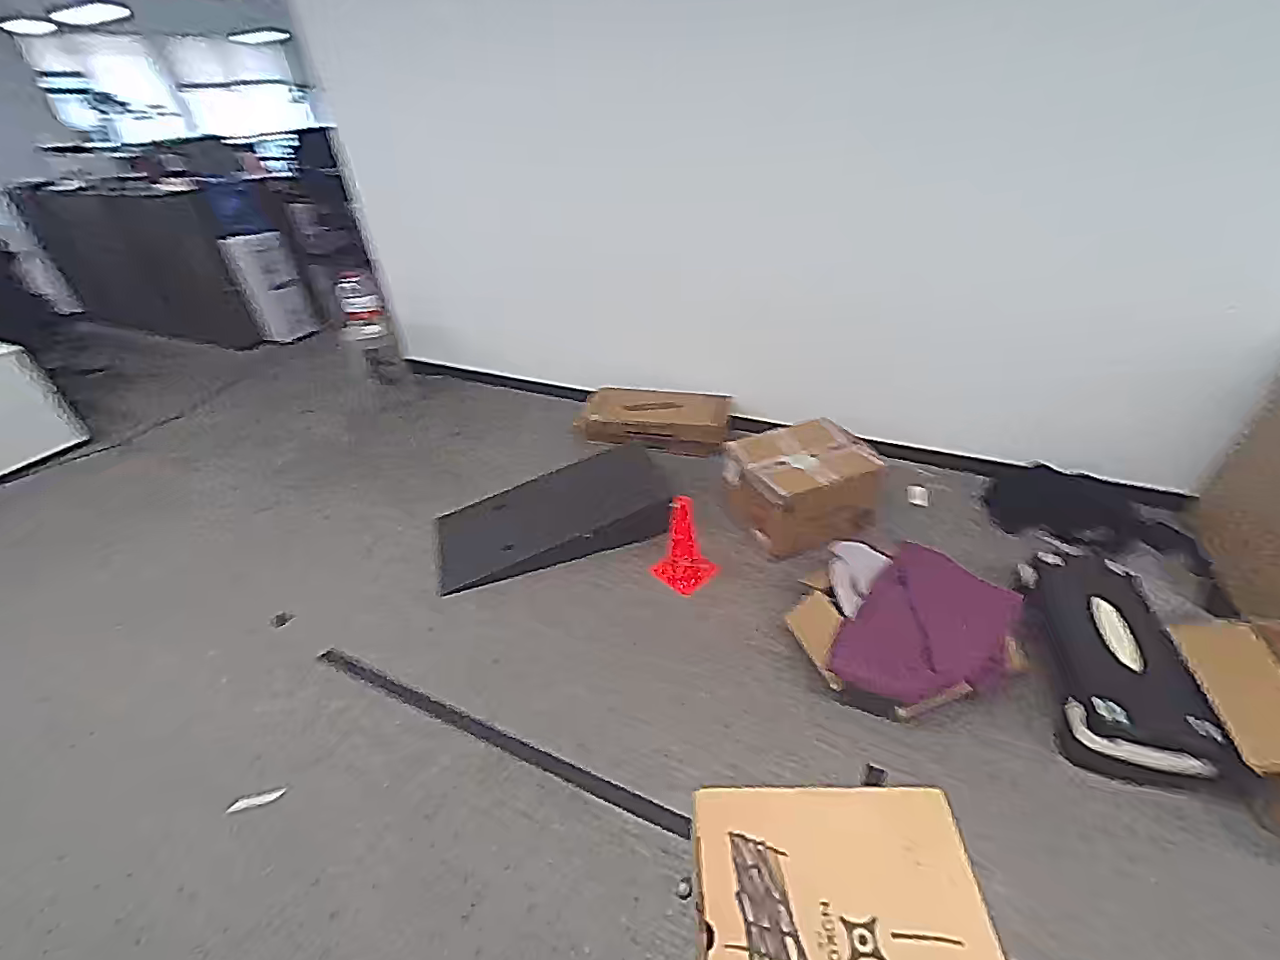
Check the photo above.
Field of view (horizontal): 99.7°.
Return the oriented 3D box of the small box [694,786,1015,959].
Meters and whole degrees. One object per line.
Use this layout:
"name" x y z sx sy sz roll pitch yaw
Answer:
"small box" 0.128 0.327 0.366 0.179 0.176 0.168 -1 42 2
